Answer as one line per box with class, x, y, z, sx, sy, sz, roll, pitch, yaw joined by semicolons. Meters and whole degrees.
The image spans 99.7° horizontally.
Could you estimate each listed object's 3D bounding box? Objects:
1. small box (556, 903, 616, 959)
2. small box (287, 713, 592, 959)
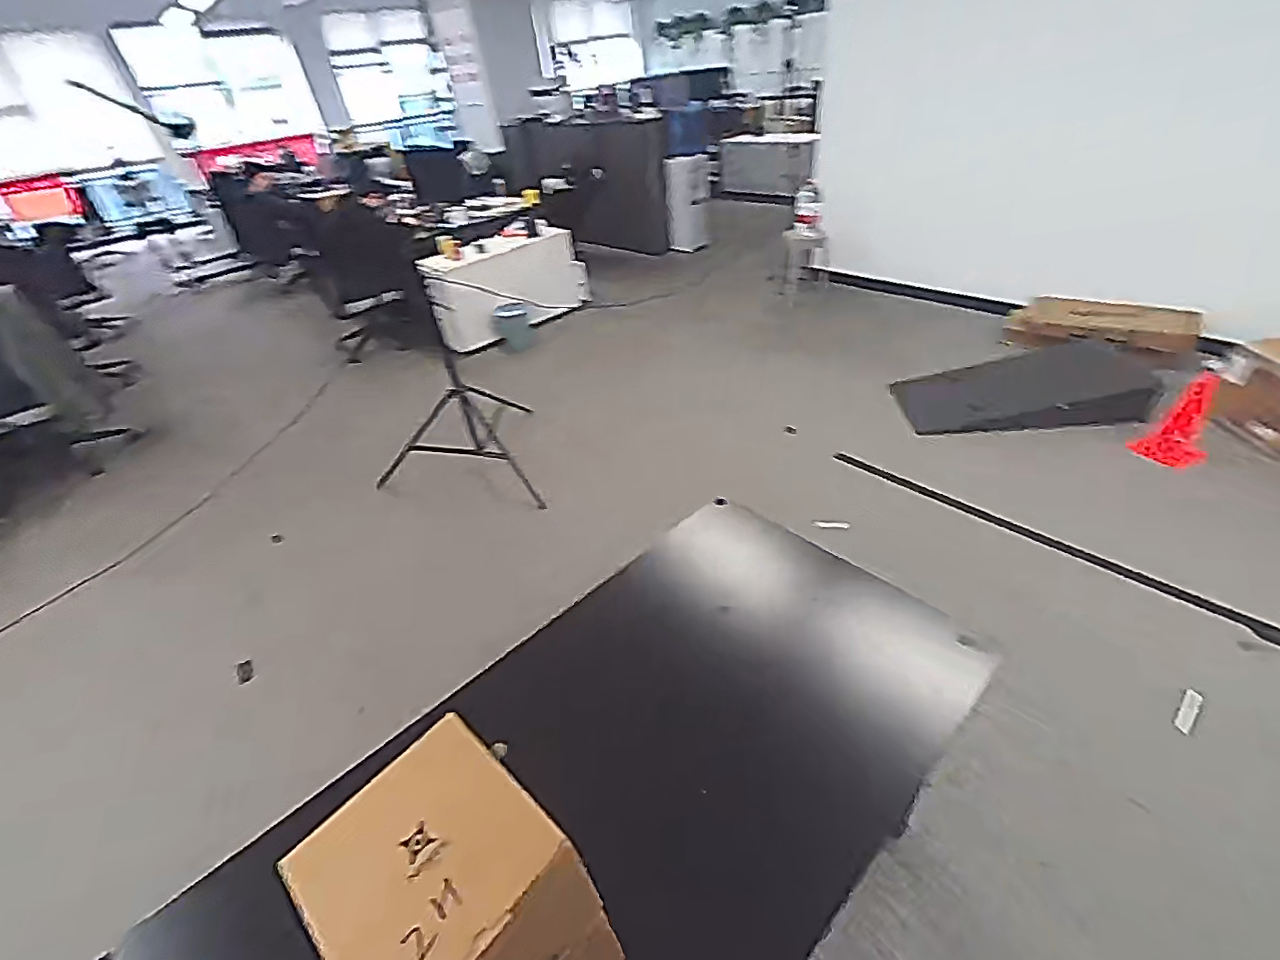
small box;-0.145;0.493;0.584;0.179;0.176;0.168;26;49;36
small box;-0.167;0.361;0.487;0.179;0.176;0.168;25;48;36
